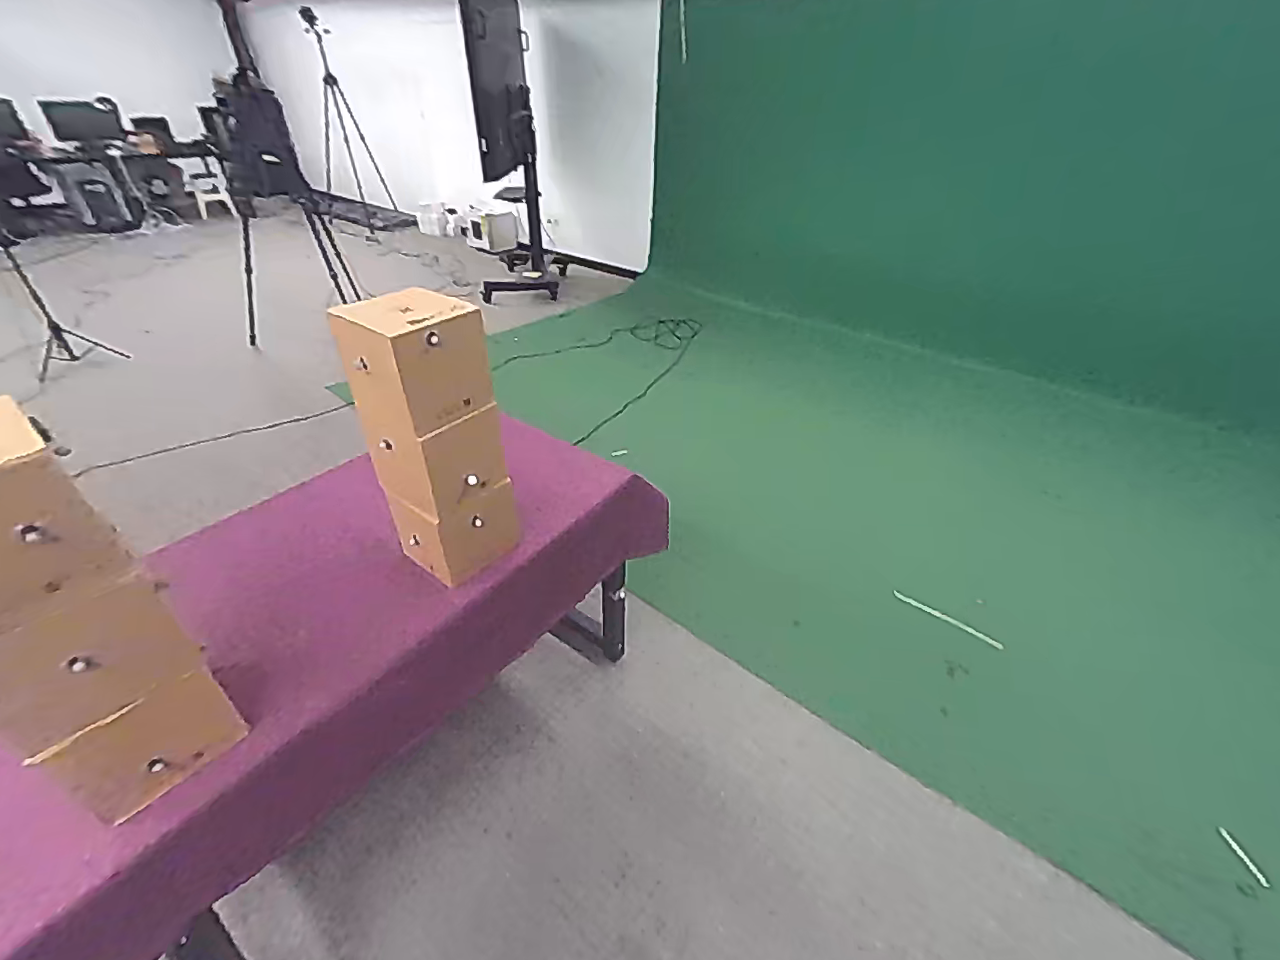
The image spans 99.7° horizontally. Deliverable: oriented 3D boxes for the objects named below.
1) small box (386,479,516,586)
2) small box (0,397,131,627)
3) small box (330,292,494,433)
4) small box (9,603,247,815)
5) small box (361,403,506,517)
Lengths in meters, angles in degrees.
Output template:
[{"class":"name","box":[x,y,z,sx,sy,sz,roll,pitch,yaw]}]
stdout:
[{"class":"small box","box":[-0.366,0.078,1.080,0.168,0.176,0.179,26,42,29]},{"class":"small box","box":[-0.682,0.042,0.557,0.179,0.176,0.168,26,42,30]},{"class":"small box","box":[-0.369,-0.196,0.897,0.179,0.176,0.168,23,42,29]},{"class":"small box","box":[-0.690,0.311,0.743,0.179,0.176,0.168,26,42,29]},{"class":"small box","box":[-0.369,-0.058,0.988,0.179,0.176,0.168,24,42,27]}]
